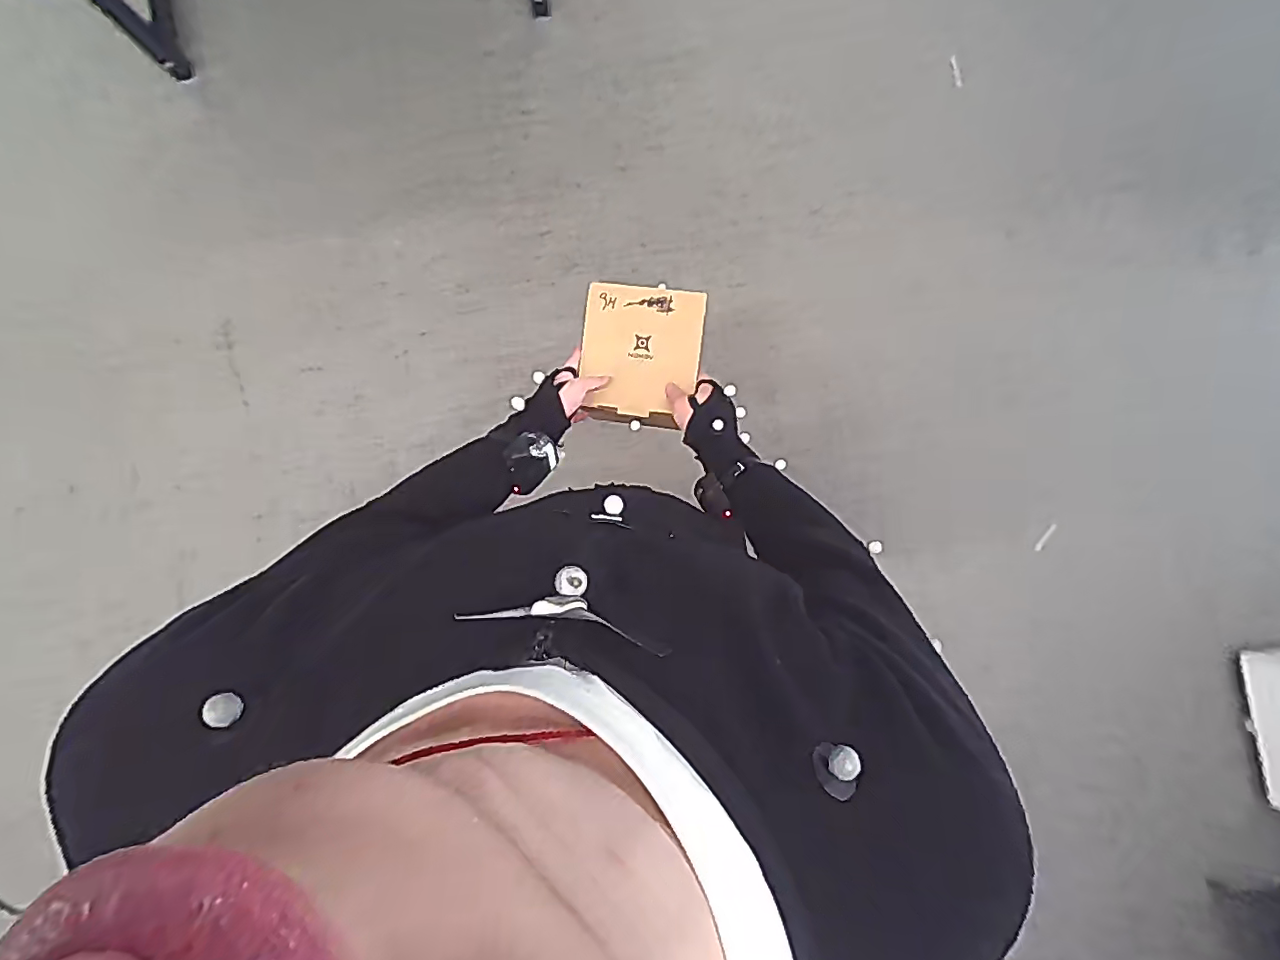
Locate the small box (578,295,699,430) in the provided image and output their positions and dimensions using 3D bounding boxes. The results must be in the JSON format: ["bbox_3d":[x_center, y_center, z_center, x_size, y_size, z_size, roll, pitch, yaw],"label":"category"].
[{"bbox_3d":[0.002,-0.175,0.849,0.168,0.176,0.179,3,89,2],"label":"small box"}]
